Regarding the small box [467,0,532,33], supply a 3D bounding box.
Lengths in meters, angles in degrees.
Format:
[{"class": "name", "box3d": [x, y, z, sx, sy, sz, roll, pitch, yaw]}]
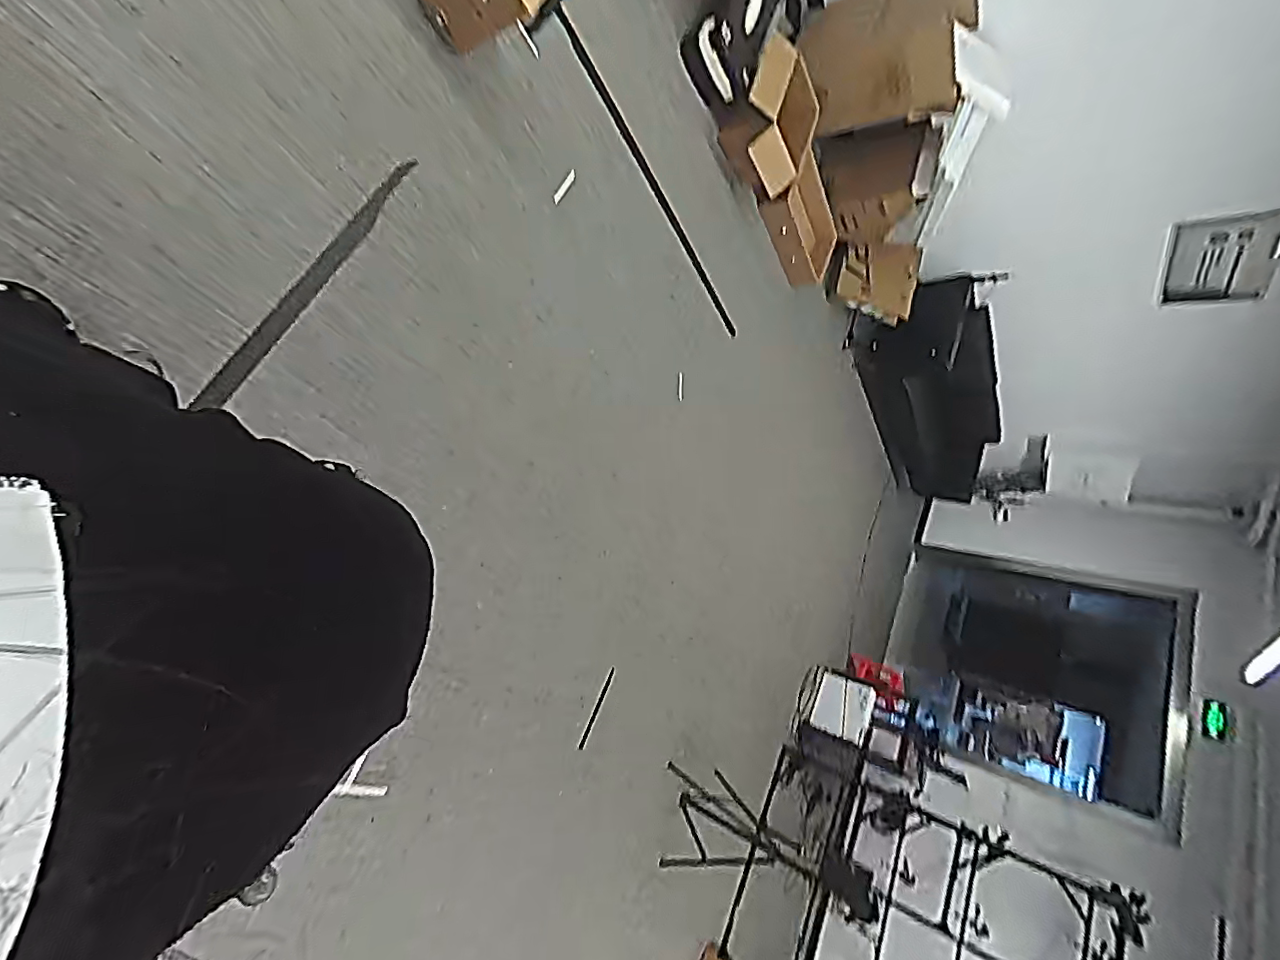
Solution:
[{"class": "small box", "box3d": [-0.355, -1.292, 1.369, 0.168, 0.176, 0.179, 45, 63, -44]}]

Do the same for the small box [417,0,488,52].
[{"class": "small box", "box3d": [-0.476, -1.328, 1.475, 0.168, 0.176, 0.179, 43, 65, -45]}]
